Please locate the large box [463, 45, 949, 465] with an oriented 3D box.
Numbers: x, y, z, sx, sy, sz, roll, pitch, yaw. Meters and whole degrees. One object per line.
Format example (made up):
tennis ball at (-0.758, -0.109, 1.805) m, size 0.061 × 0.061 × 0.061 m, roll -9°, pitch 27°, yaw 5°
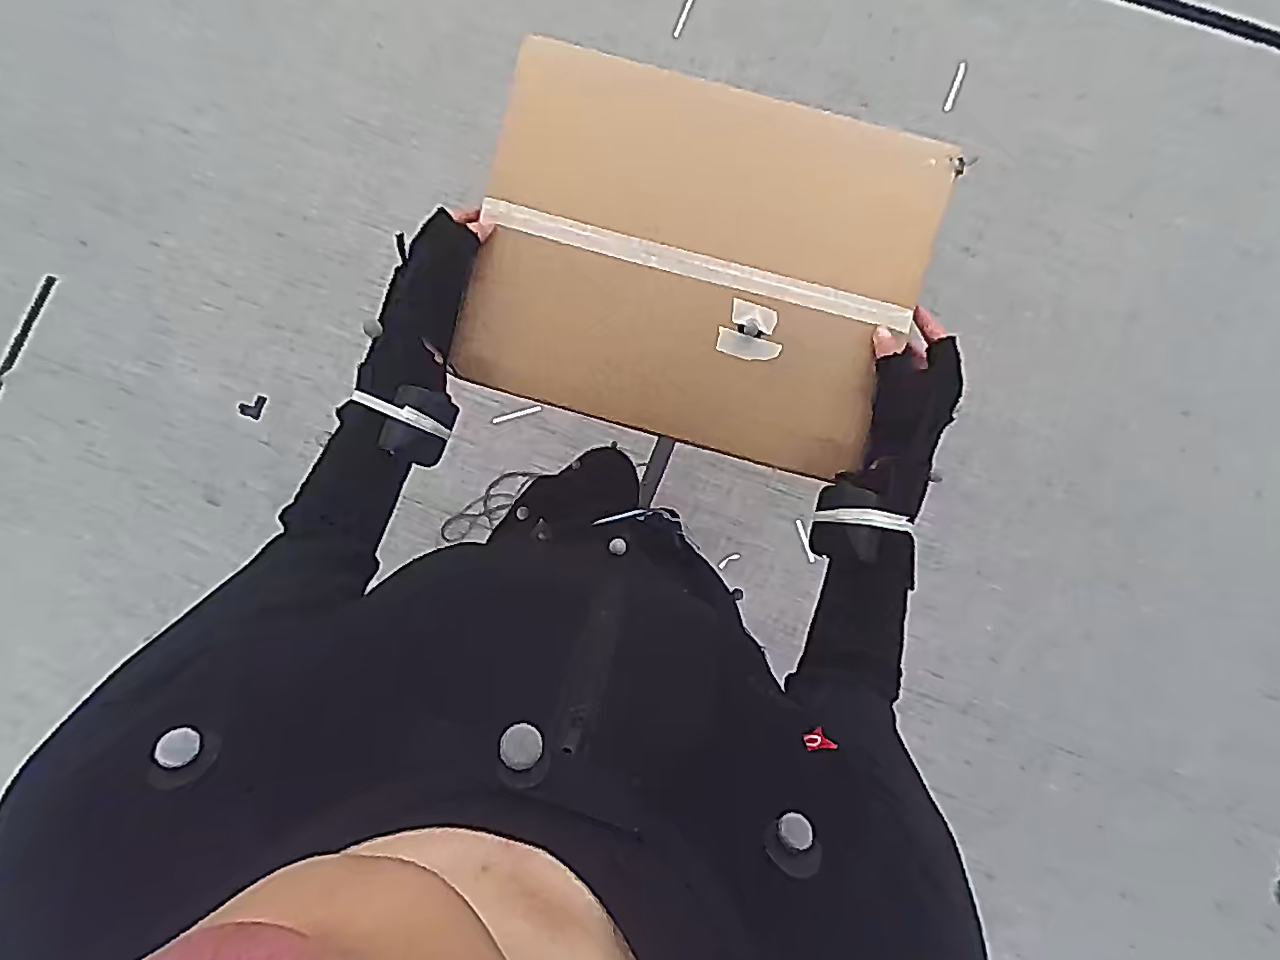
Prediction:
large box at (0.059, -0.222, 0.657) m, size 0.408 × 0.320 × 0.320 m, roll 16°, pitch 97°, yaw 1°
